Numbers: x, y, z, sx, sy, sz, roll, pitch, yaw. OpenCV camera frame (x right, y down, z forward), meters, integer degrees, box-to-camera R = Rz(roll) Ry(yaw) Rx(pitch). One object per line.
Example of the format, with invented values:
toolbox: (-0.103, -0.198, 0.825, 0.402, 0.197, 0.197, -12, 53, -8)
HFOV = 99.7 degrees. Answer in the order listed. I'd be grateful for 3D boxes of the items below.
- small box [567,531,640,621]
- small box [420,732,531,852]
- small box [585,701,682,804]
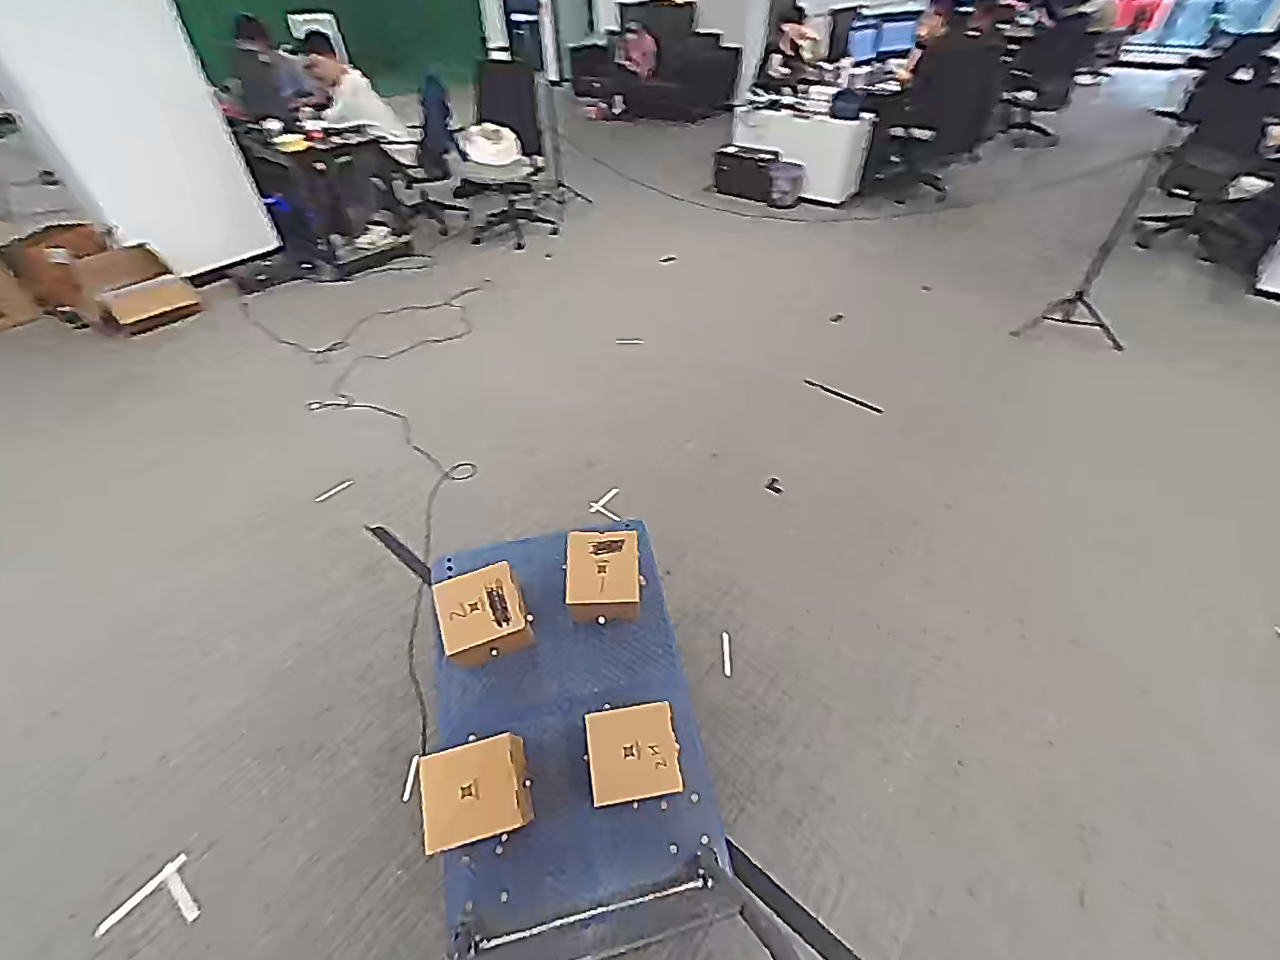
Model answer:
small box: (-0.087, 0.236, 1.317, 0.168, 0.176, 0.179, -1, 62, -3)
small box: (-0.327, 0.626, 1.091, 0.179, 0.176, 0.168, -12, 62, -11)
small box: (-0.017, 0.573, 1.134, 0.179, 0.176, 0.168, -6, 62, -6)
